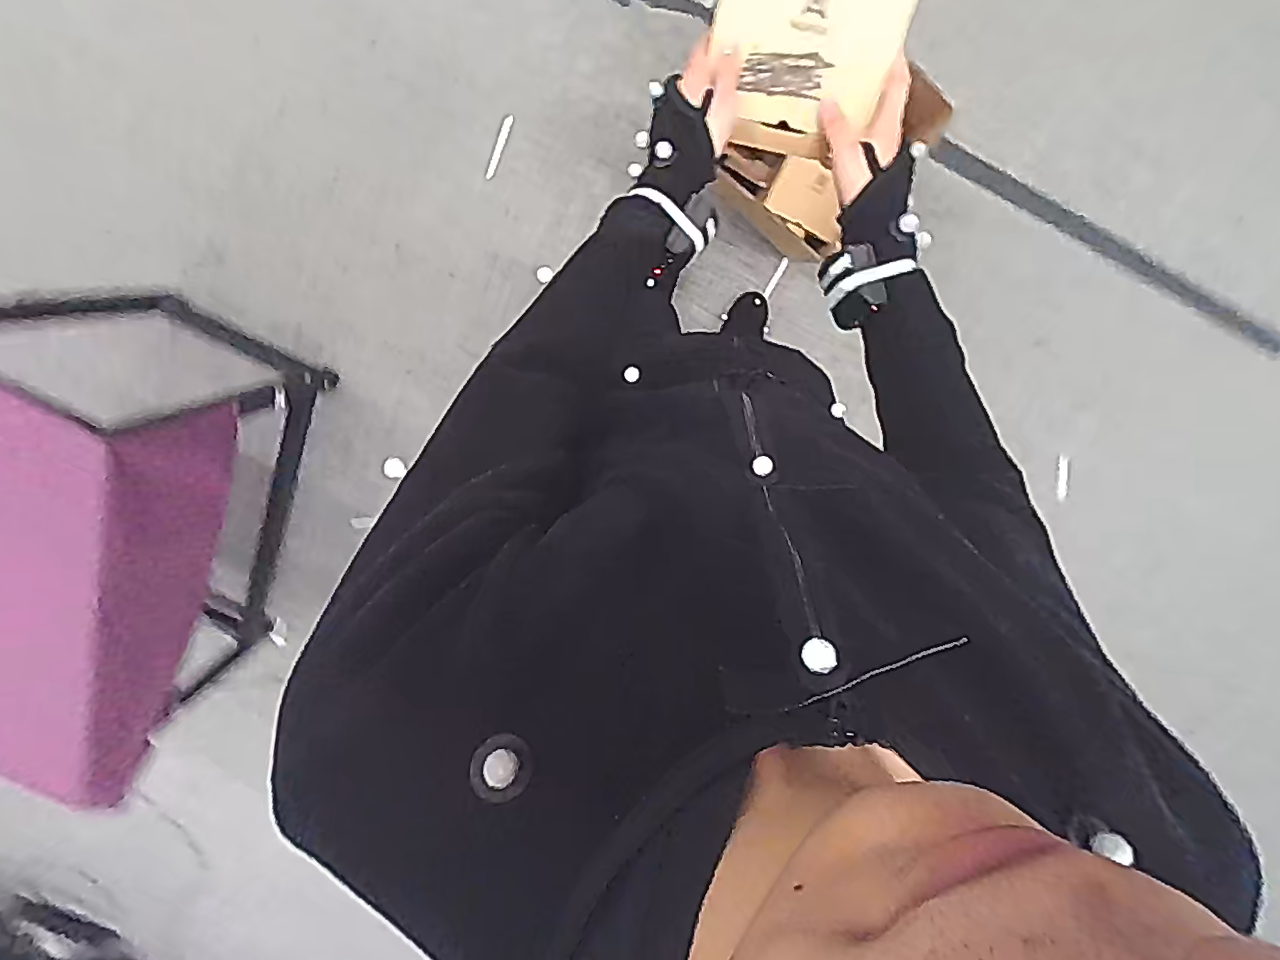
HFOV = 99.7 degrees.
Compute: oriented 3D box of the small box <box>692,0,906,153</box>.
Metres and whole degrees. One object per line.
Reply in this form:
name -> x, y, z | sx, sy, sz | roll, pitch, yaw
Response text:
small box -> 0.152, -0.444, 0.542 | 0.168, 0.176, 0.179 | 11, 118, 0
